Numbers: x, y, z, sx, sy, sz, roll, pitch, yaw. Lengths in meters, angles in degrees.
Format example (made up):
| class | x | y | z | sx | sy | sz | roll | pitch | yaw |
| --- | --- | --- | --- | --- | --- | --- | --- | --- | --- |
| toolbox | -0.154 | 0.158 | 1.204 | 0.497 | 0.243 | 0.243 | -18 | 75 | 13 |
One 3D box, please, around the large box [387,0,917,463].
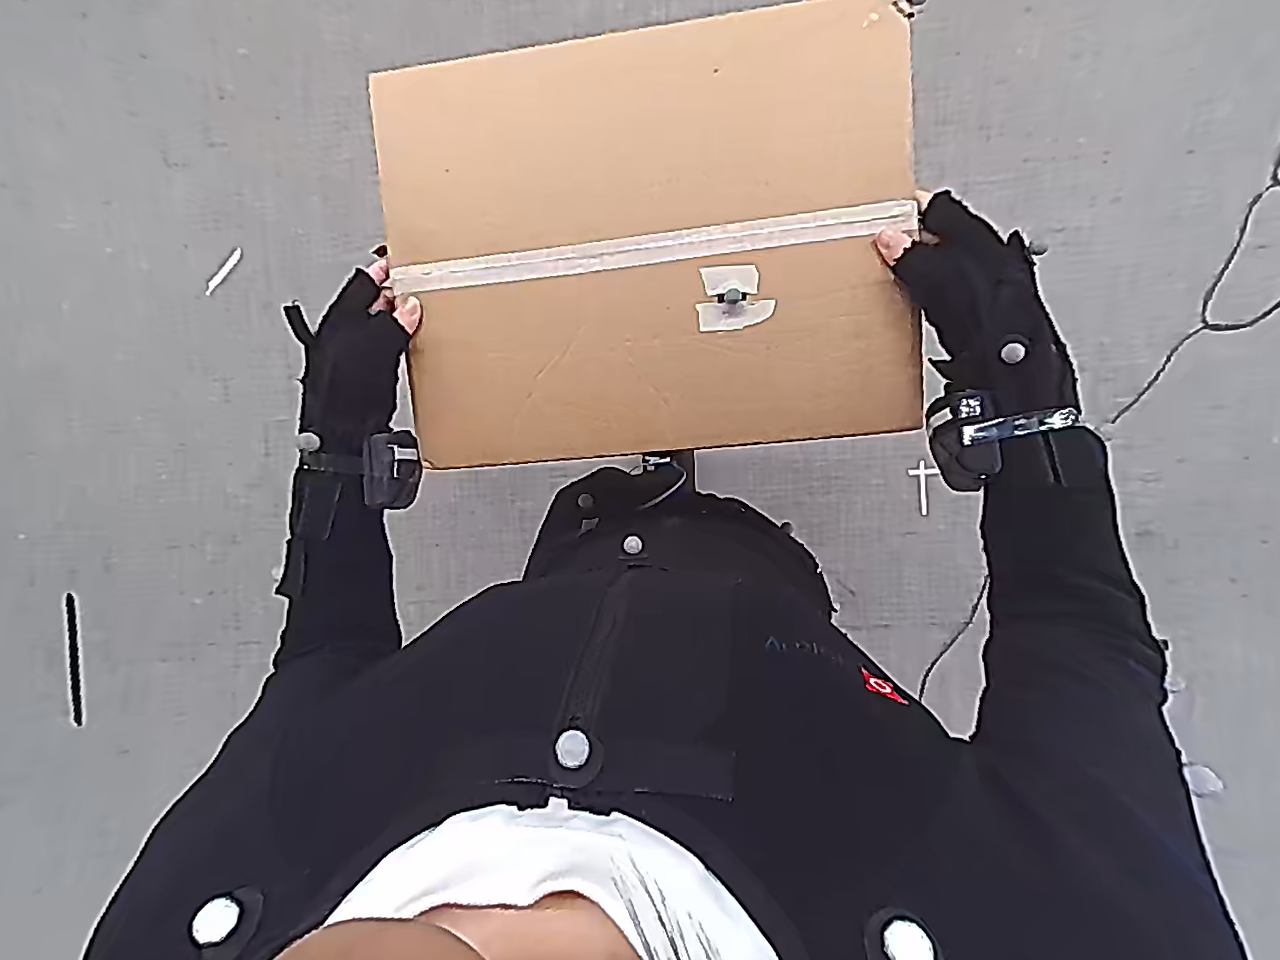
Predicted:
| class | x | y | z | sx | sy | sz | roll | pitch | yaw |
| --- | --- | --- | --- | --- | --- | --- | --- | --- | --- |
| large box | 0.019 | -0.202 | 0.577 | 0.408 | 0.320 | 0.320 | -5 | 97 | 6 |
